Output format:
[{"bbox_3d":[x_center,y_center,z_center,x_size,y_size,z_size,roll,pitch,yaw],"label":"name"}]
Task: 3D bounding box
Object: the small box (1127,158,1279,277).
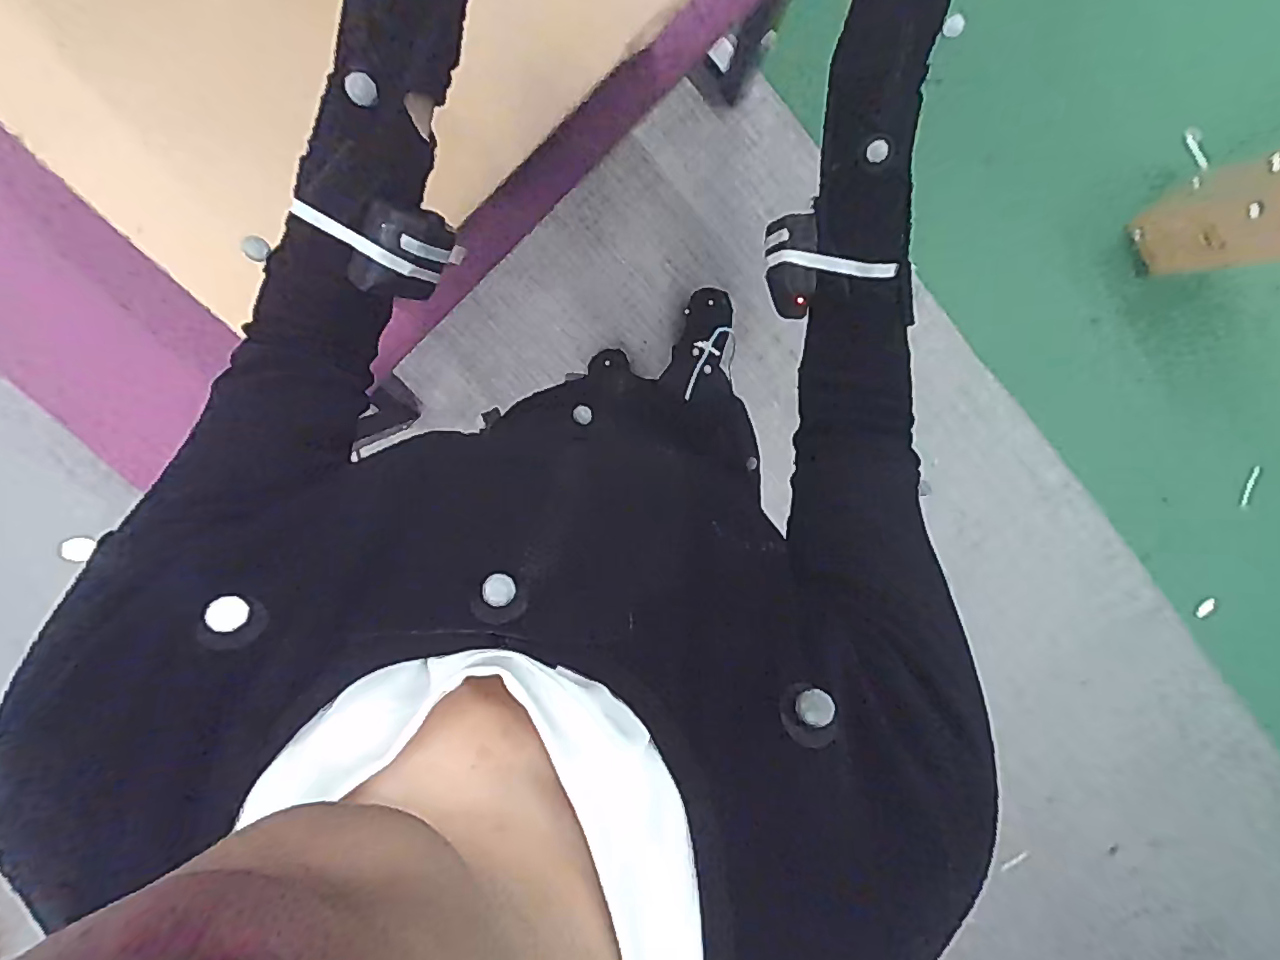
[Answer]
[{"bbox_3d":[1.302,-0.598,1.263,0.179,0.176,0.168,-40,102,9],"label":"small box"}]
